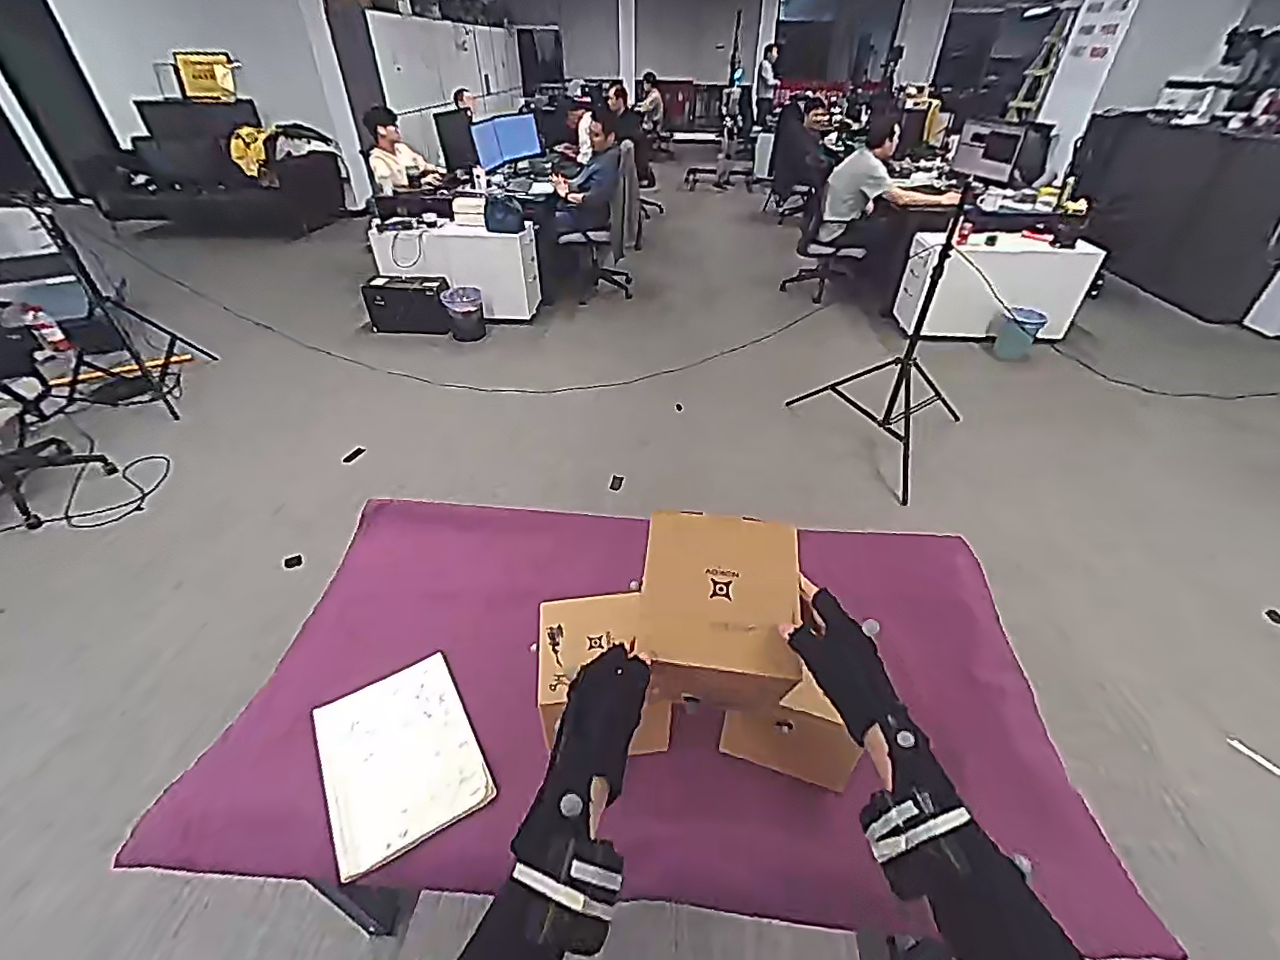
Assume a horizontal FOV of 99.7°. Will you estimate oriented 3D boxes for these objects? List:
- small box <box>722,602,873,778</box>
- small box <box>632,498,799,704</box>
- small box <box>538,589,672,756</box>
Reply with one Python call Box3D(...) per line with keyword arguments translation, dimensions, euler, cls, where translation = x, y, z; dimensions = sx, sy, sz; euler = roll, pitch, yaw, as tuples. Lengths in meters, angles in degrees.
Box3D(translation=(0.224, 0.296, 0.784), dimensions=(0.179, 0.176, 0.168), euler=(13, 39, 15), cls="small box")
Box3D(translation=(0.082, 0.144, 0.634), dimensions=(0.168, 0.176, 0.179), euler=(5, 55, 4), cls="small box")
Box3D(translation=(-0.055, 0.284, 0.803), dimensions=(0.179, 0.176, 0.168), euler=(-4, 37, -7), cls="small box")
